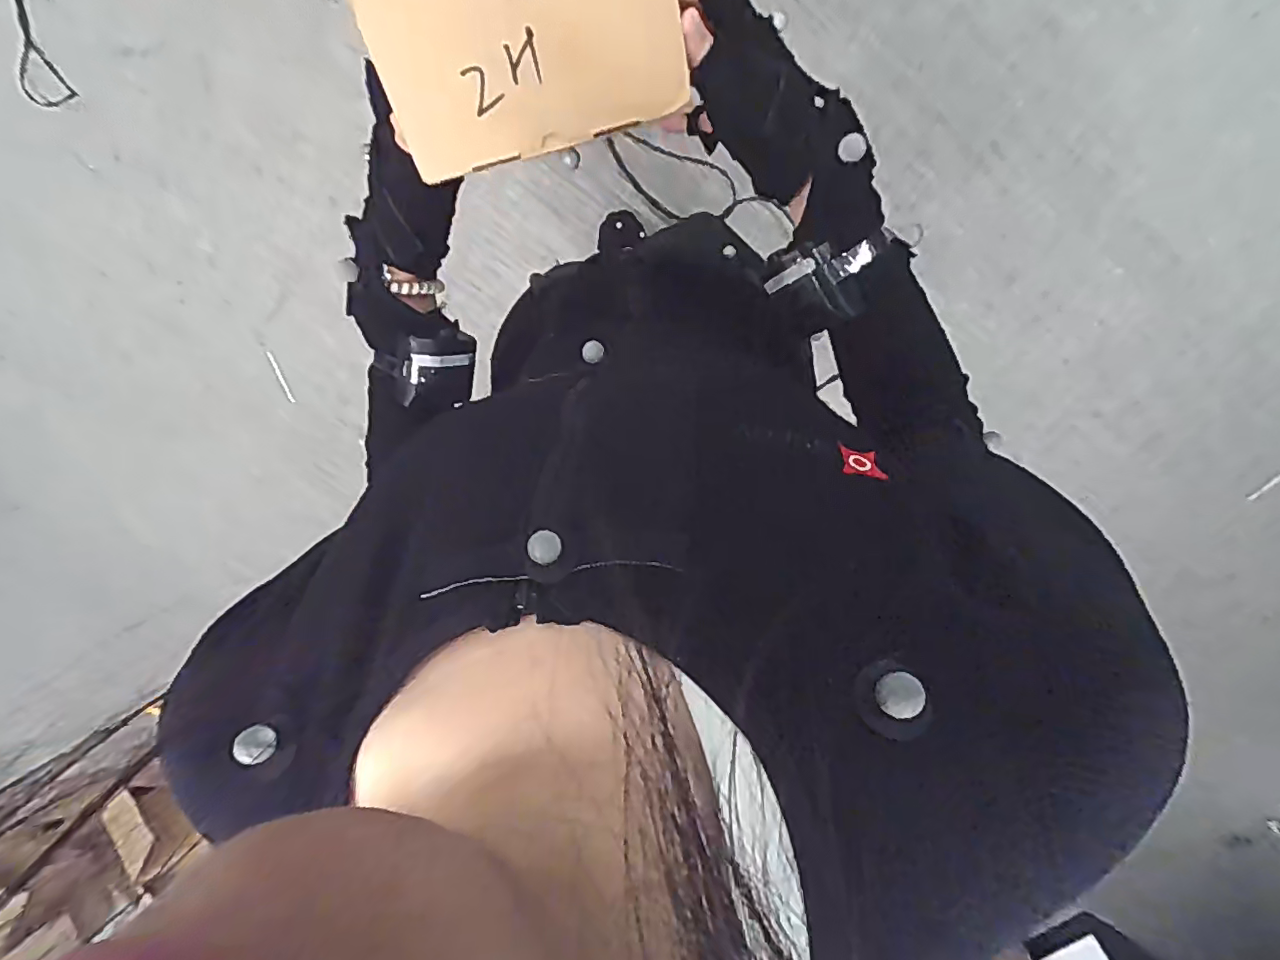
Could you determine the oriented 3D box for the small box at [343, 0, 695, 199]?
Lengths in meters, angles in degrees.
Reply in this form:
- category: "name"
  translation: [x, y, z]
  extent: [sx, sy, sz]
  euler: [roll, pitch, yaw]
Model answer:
- category: "small box"
  translation: [-0.071, -0.292, 0.331]
  extent: [0.168, 0.176, 0.179]
  euler: [-12, 123, 4]
